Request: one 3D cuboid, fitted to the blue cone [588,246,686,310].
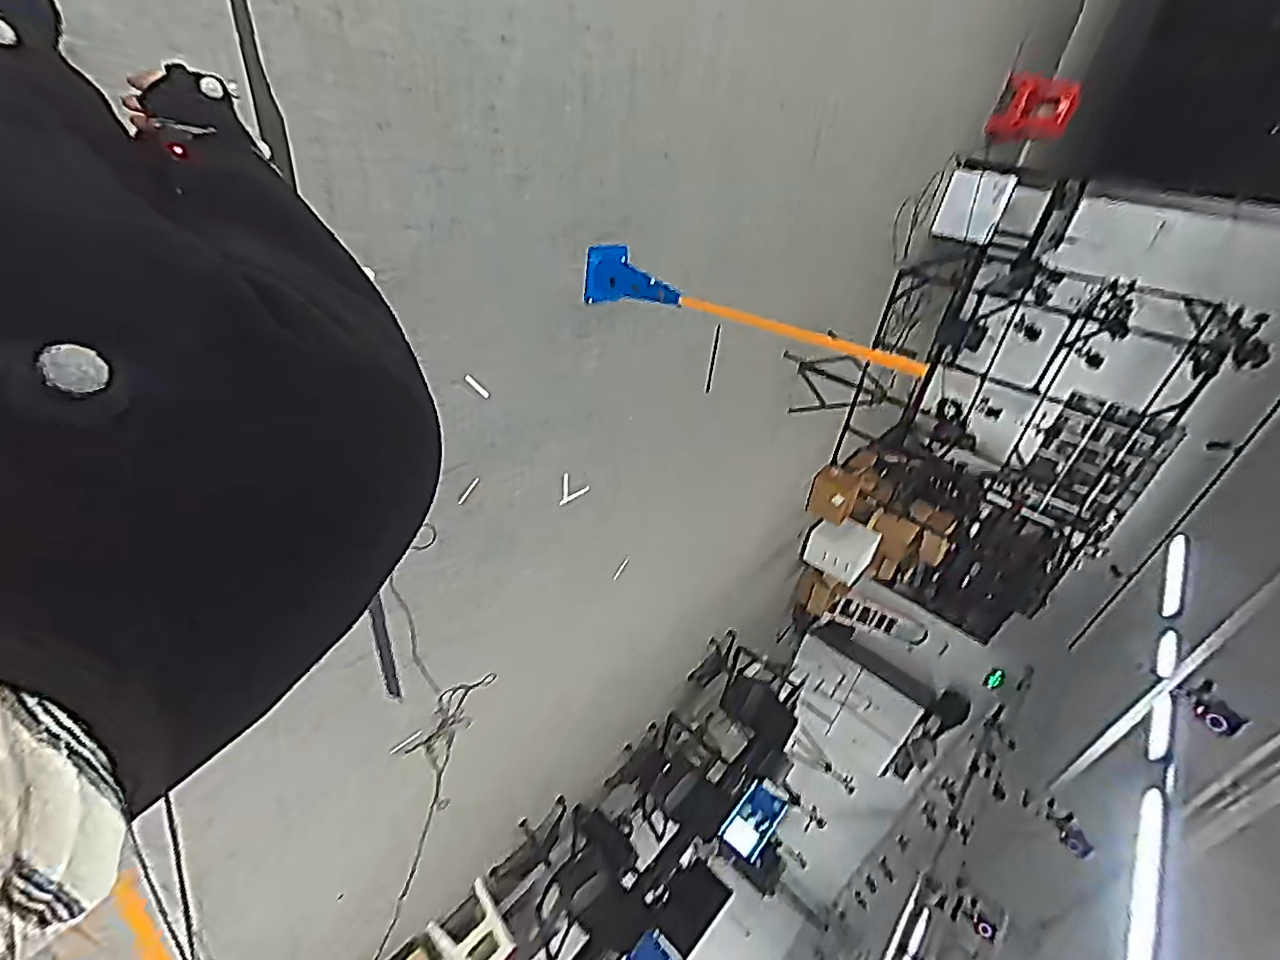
[{"bbox_3d":[0.006,-0.674,1.879,0.193,0.380,0.192,-24,135,-43],"label":"blue cone"}]
